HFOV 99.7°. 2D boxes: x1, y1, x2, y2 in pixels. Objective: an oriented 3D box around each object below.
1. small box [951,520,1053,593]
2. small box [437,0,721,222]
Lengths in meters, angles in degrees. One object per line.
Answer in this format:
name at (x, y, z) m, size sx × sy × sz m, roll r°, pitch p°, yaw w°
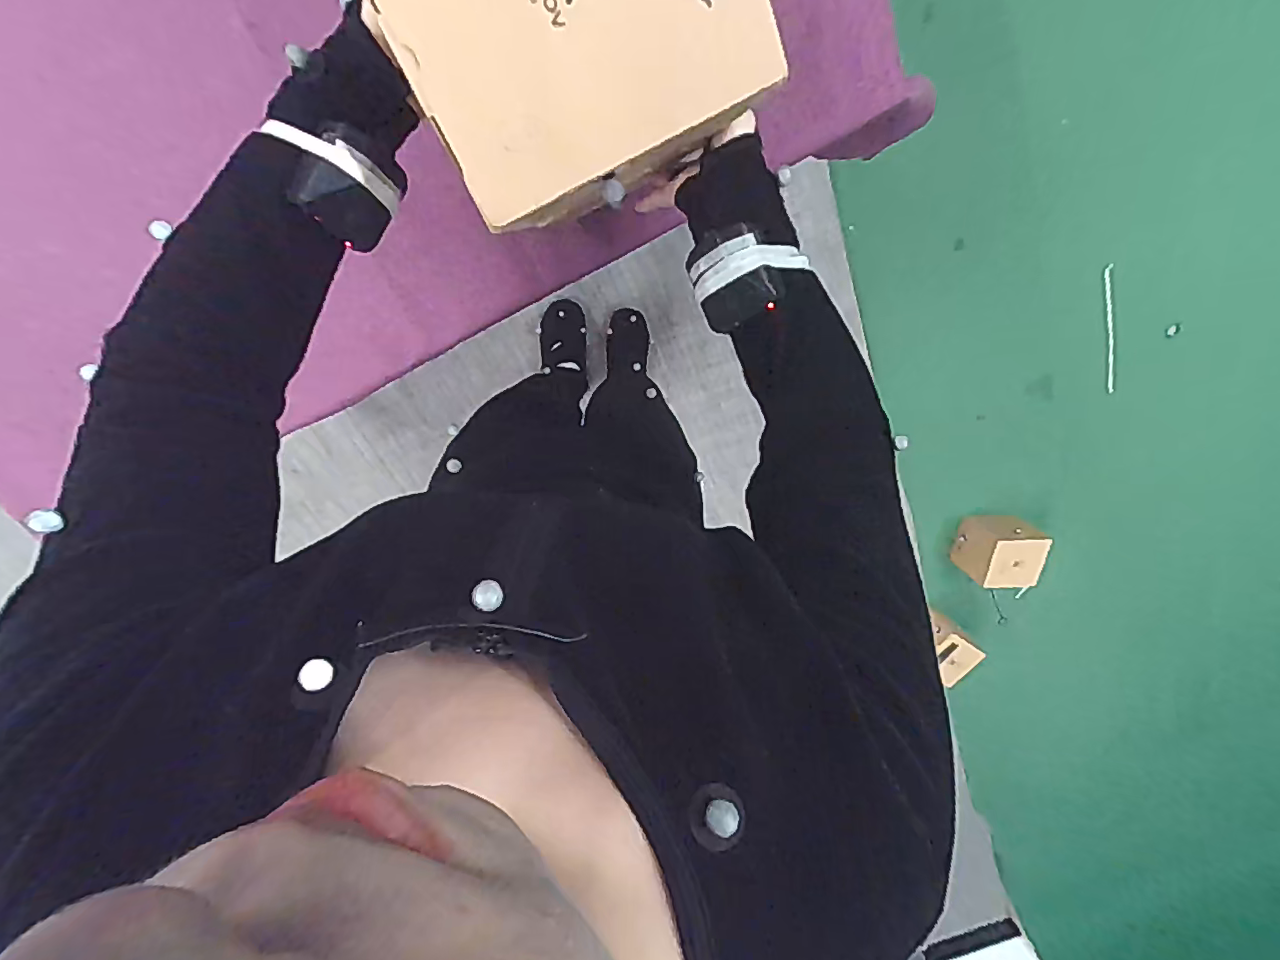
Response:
small box at (1.111, 0.232, 1.672) m, size 0.179 × 0.176 × 0.168 m, roll -1°, pitch 113°, yaw -5°
small box at (-0.046, -0.348, 0.479) m, size 0.168 × 0.176 × 0.179 m, roll -23°, pitch 114°, yaw 9°
